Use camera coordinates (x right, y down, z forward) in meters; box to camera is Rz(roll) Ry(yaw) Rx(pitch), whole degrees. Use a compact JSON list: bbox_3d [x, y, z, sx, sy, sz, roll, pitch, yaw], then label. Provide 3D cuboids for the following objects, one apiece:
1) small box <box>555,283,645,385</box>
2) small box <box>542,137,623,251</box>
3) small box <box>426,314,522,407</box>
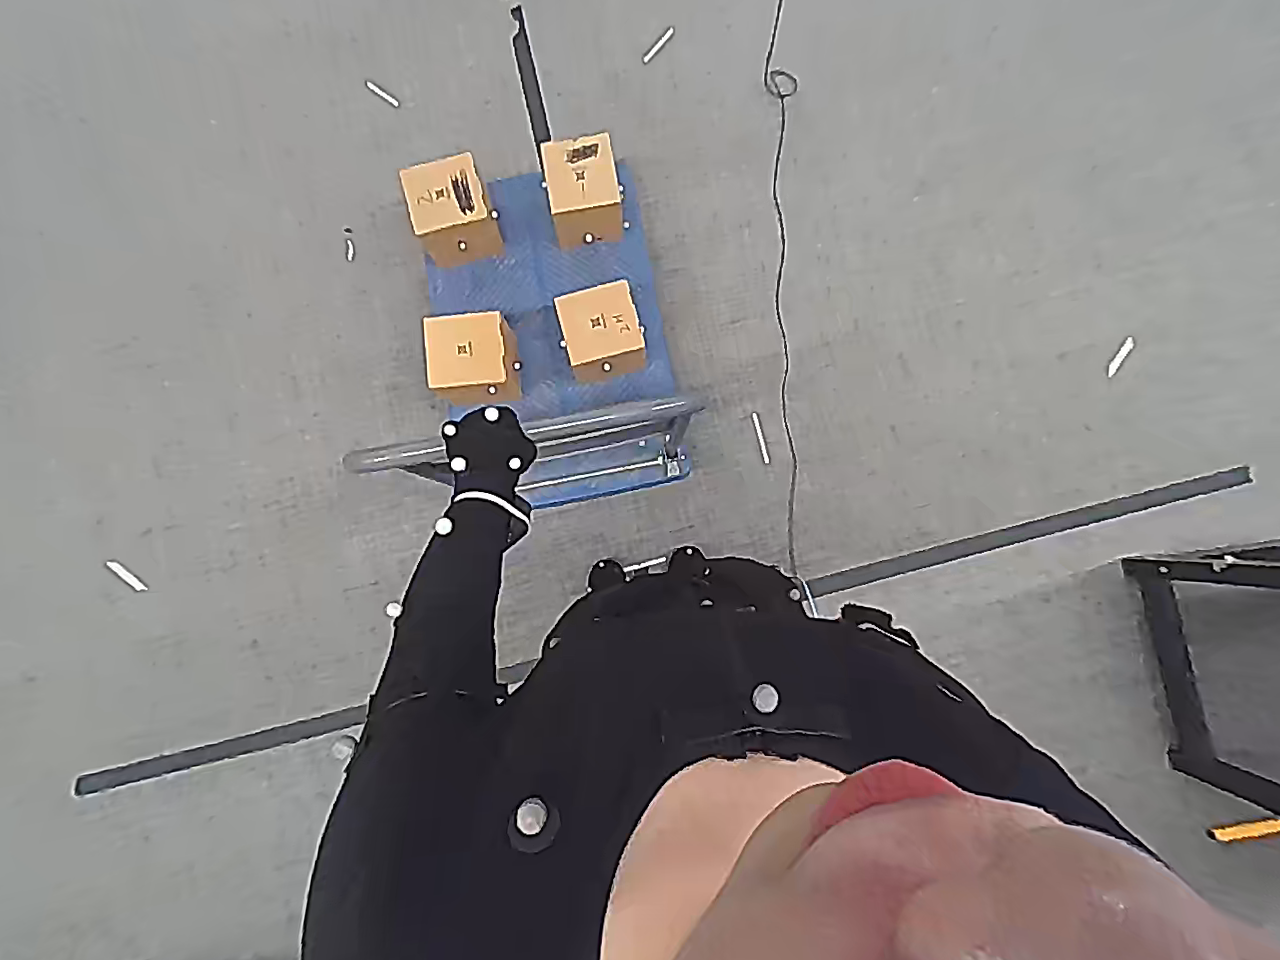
[{"bbox_3d":[-0.089,-0.342,1.300,0.179,0.176,0.168,-15,85,-1],"label":"small box"},{"bbox_3d":[-0.137,-0.699,1.334,0.168,0.176,0.179,-10,86,-1],"label":"small box"},{"bbox_3d":[-0.392,-0.278,1.294,0.179,0.176,0.168,-7,84,-2],"label":"small box"}]
